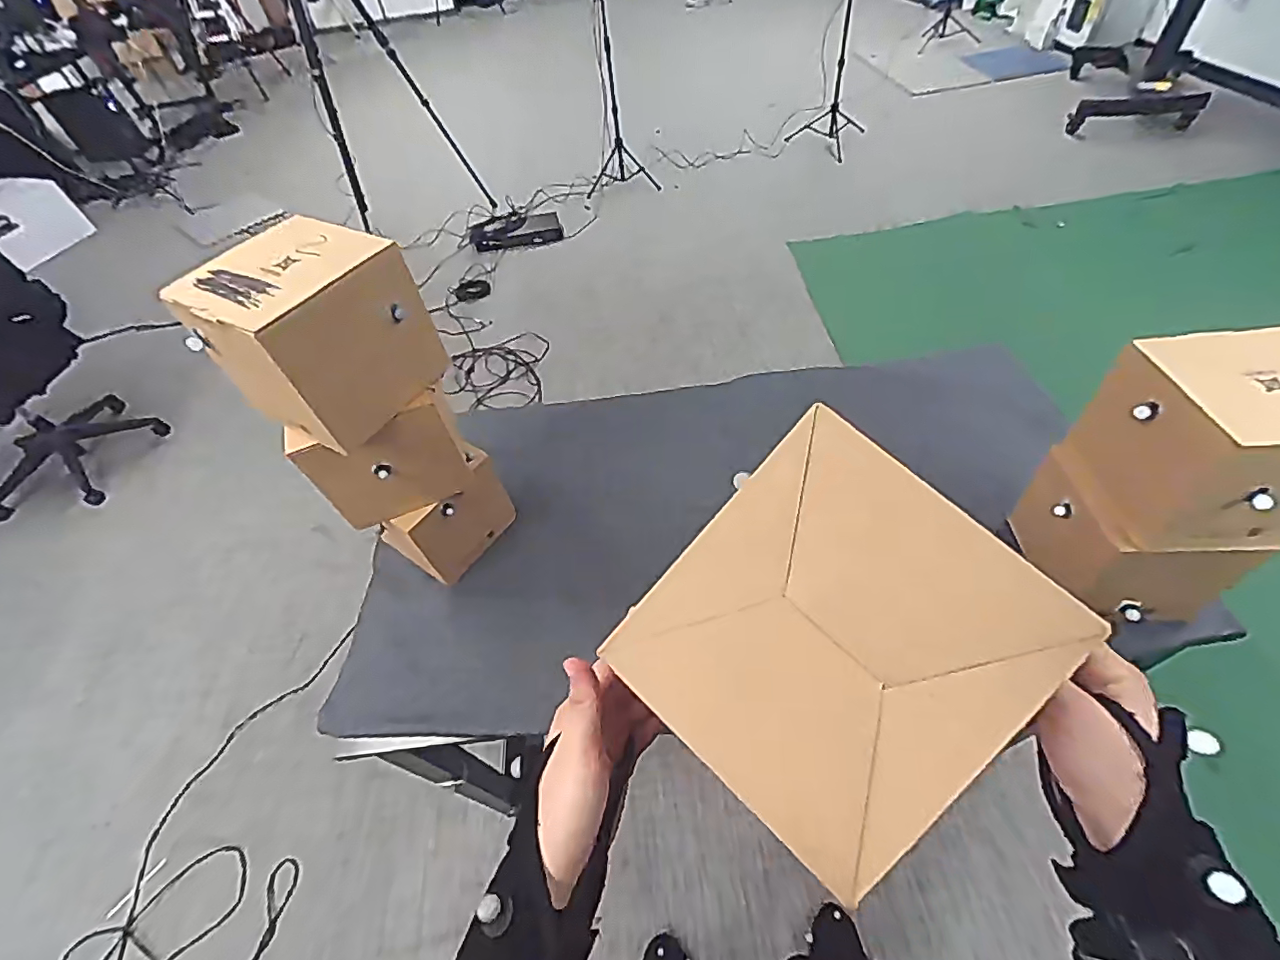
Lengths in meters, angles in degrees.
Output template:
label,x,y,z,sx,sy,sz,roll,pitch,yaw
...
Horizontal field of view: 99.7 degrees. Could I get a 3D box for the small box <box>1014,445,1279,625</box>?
label,x,y,z,sx,sy,sz,roll,pitch,yaw
small box,0.633,0.070,0.708,0.168,0.176,0.179,-3,48,8

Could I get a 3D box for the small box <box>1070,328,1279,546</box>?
label,x,y,z,sx,sy,sz,roll,pitch,yaw
small box,0.627,-0.040,0.588,0.168,0.176,0.179,-4,47,7

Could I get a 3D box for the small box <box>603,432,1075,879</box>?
label,x,y,z,sx,sy,sz,roll,pitch,yaw
small box,0.105,0.086,0.337,0.168,0.176,0.179,42,93,13

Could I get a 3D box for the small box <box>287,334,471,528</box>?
label,x,y,z,sx,sy,sz,roll,pitch,yaw
small box,-0.349,-0.065,0.747,0.179,0.176,0.168,-23,53,-10

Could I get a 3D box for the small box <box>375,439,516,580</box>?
label,x,y,z,sx,sy,sz,roll,pitch,yaw
small box,-0.333,0.034,0.878,0.179,0.176,0.168,26,60,25
